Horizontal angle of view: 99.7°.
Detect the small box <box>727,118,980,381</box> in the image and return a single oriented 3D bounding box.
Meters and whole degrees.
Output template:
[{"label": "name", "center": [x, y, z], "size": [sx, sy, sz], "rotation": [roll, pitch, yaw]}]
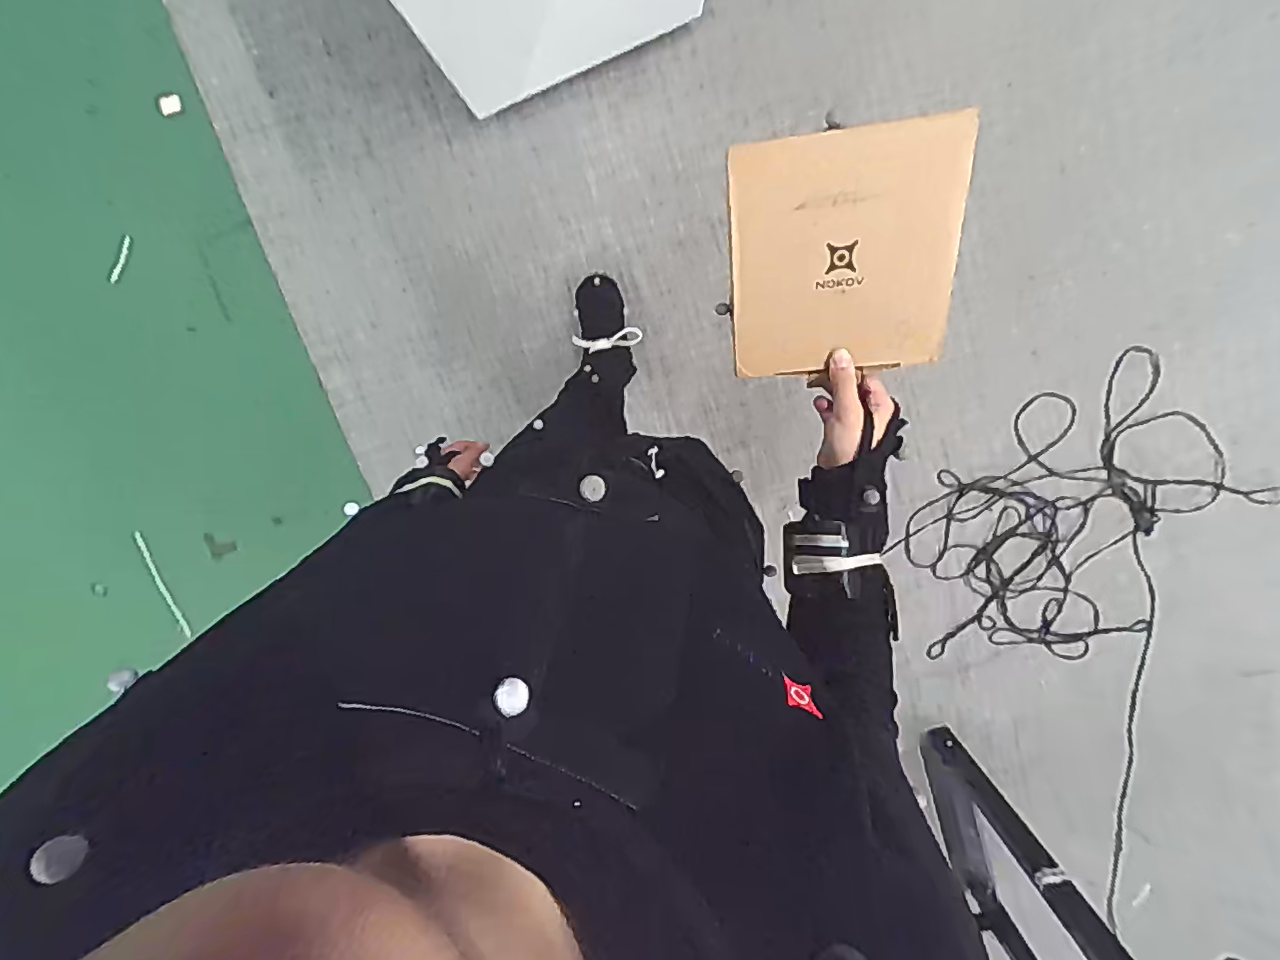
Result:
[{"label": "small box", "center": [0.164, -0.202, 0.479], "size": [0.168, 0.176, 0.179], "rotation": [-3, 119, 9]}]
